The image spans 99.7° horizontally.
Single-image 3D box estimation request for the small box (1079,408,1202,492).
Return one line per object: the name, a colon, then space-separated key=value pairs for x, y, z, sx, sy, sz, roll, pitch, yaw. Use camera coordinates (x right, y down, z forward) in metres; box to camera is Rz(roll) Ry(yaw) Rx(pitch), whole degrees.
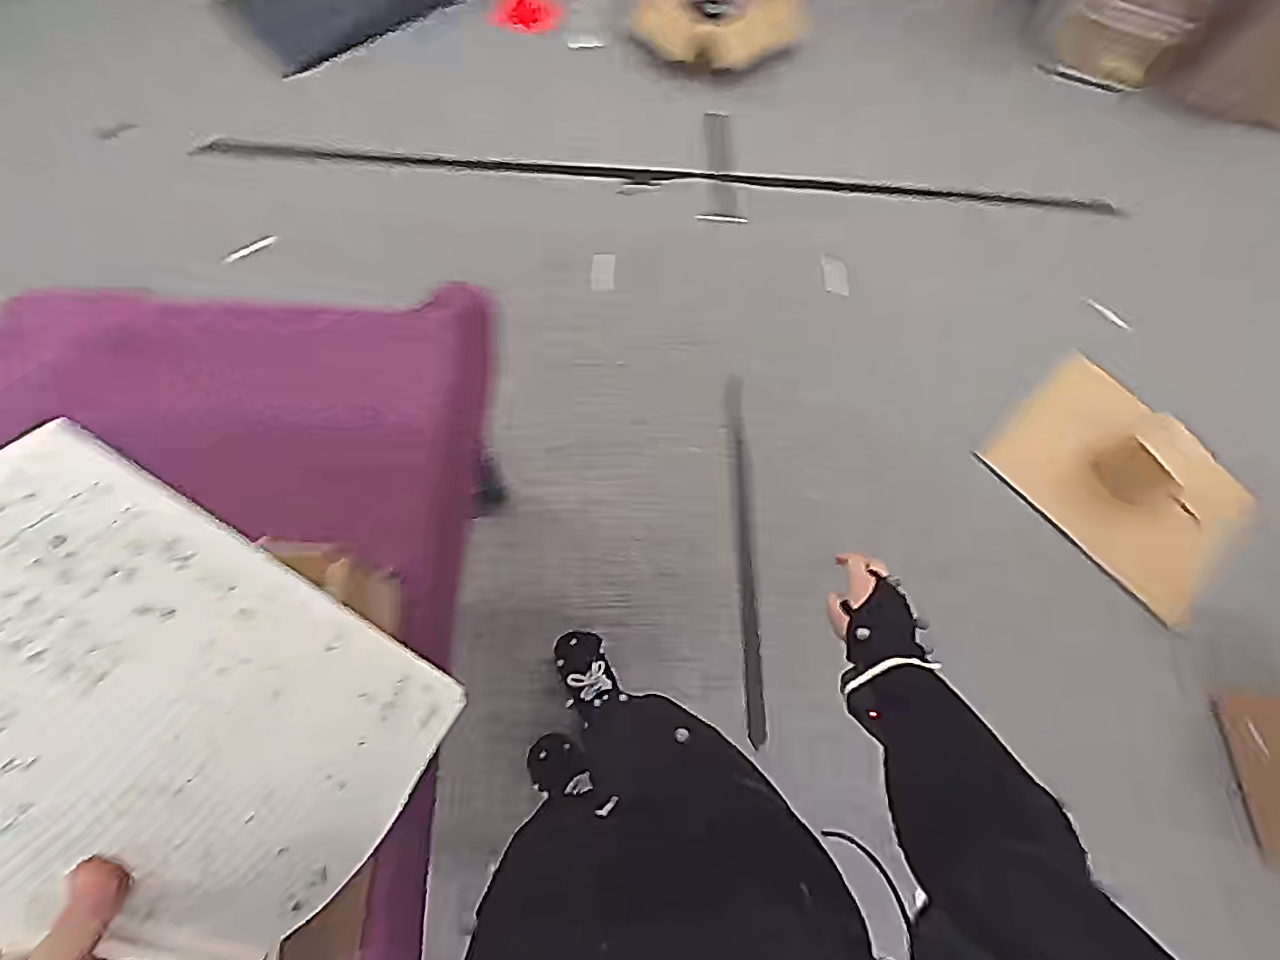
small box: x=1.494 y=-0.081 z=1.624 sx=0.168 sy=0.176 sz=0.179 roll=-29 pitch=78 yaw=-16
